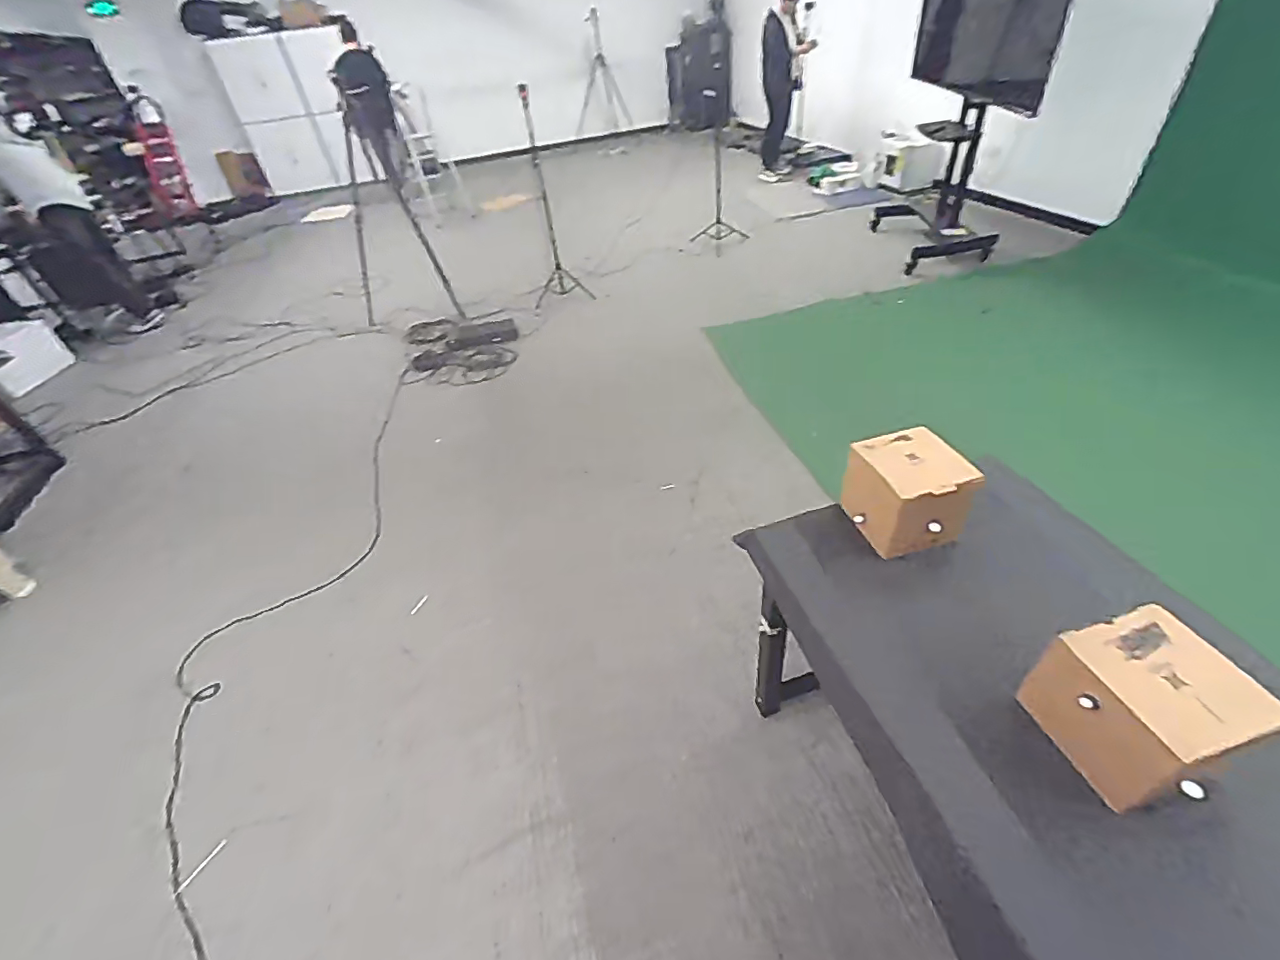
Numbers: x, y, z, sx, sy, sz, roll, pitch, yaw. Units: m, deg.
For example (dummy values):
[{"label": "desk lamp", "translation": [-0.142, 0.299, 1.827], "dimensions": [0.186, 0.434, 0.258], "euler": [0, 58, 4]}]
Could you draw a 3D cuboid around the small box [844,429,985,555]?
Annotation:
[{"label": "small box", "translation": [0.529, 0.030, 1.070], "dimensions": [0.168, 0.176, 0.179], "euler": [-14, 42, -7]}]

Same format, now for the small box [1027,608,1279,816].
[{"label": "small box", "translation": [0.673, 0.308, 0.722], "dimensions": [0.168, 0.176, 0.179], "euler": [-15, 42, -7]}]
